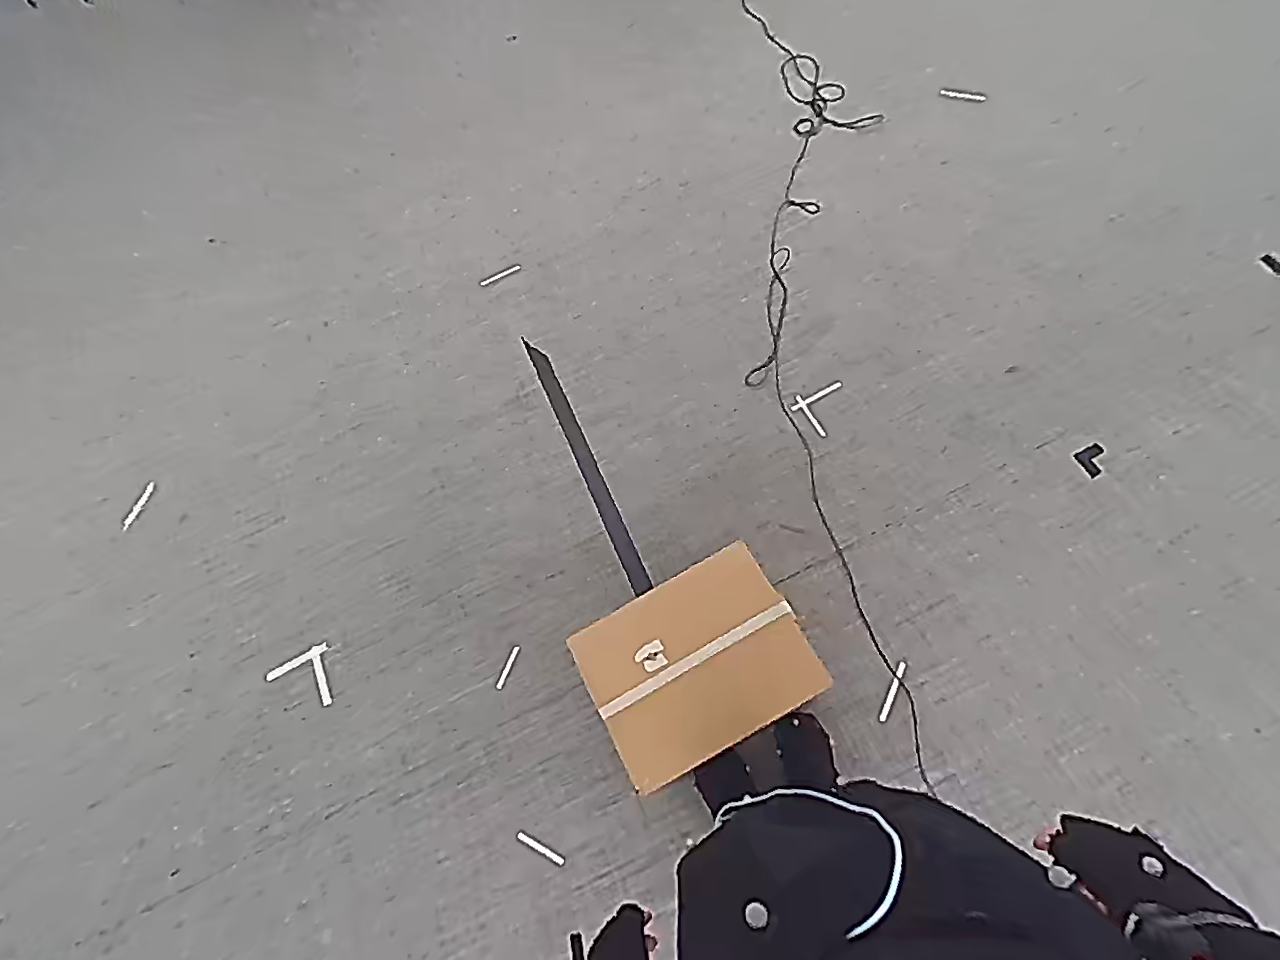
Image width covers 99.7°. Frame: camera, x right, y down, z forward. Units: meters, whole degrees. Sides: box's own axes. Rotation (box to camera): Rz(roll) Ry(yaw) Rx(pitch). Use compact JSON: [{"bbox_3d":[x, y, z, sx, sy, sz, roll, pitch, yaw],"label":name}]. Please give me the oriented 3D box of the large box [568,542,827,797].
[{"bbox_3d":[0.121,0.388,1.154,0.408,0.320,0.320,-30,68,-1],"label":"large box"}]
